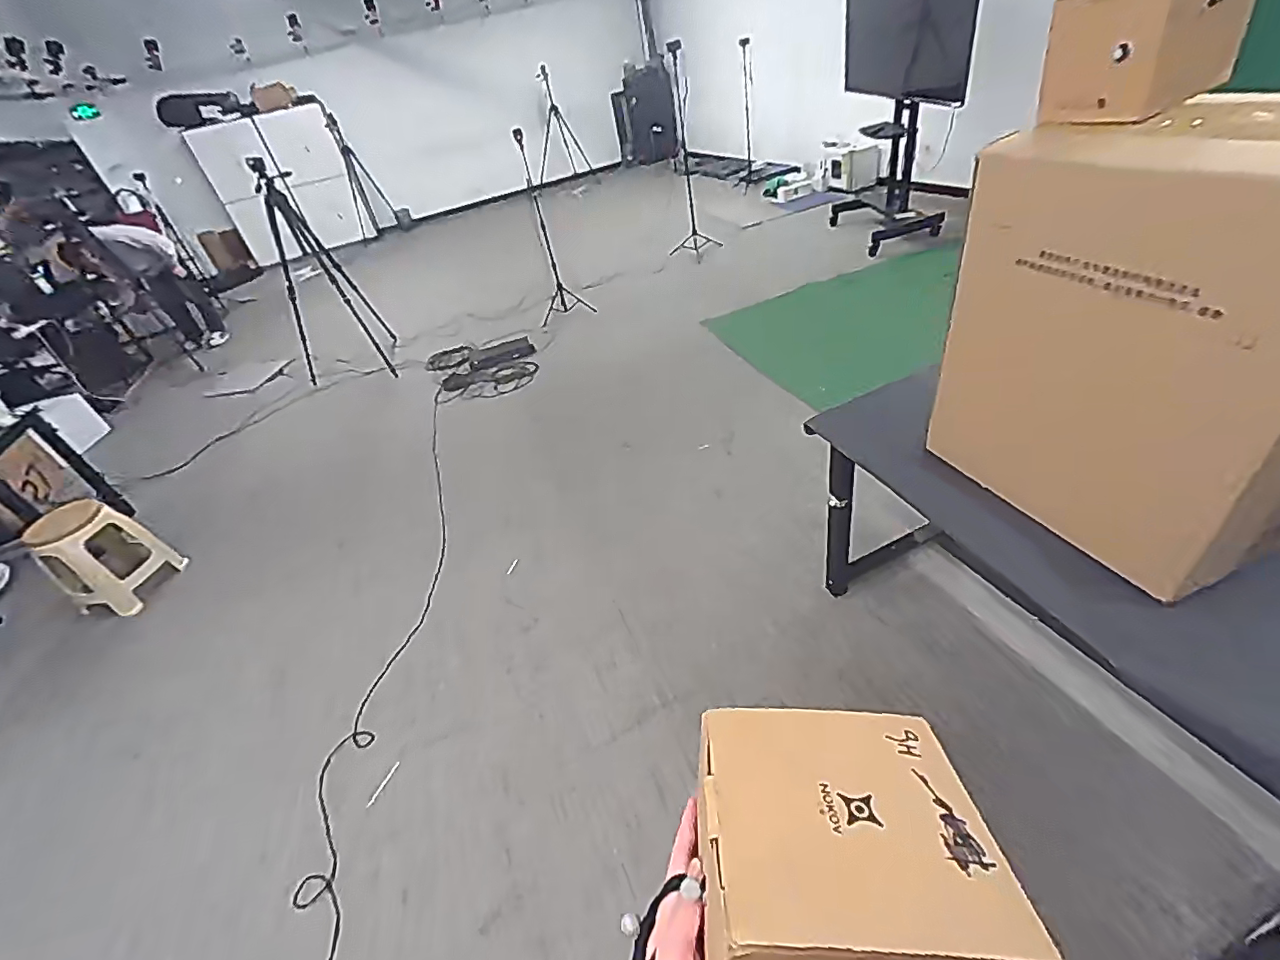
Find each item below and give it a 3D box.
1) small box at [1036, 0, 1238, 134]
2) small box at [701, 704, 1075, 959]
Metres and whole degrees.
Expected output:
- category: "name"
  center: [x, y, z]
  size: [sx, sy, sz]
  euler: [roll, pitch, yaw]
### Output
- category: "small box"
  center: [0.753, -0.650, 0.831]
  size: [0.179, 0.176, 0.168]
  euler: [-25, 39, -10]
- category: "small box"
  center: [0.133, 0.280, 0.369]
  size: [0.179, 0.176, 0.168]
  euler: [1, 21, 1]
